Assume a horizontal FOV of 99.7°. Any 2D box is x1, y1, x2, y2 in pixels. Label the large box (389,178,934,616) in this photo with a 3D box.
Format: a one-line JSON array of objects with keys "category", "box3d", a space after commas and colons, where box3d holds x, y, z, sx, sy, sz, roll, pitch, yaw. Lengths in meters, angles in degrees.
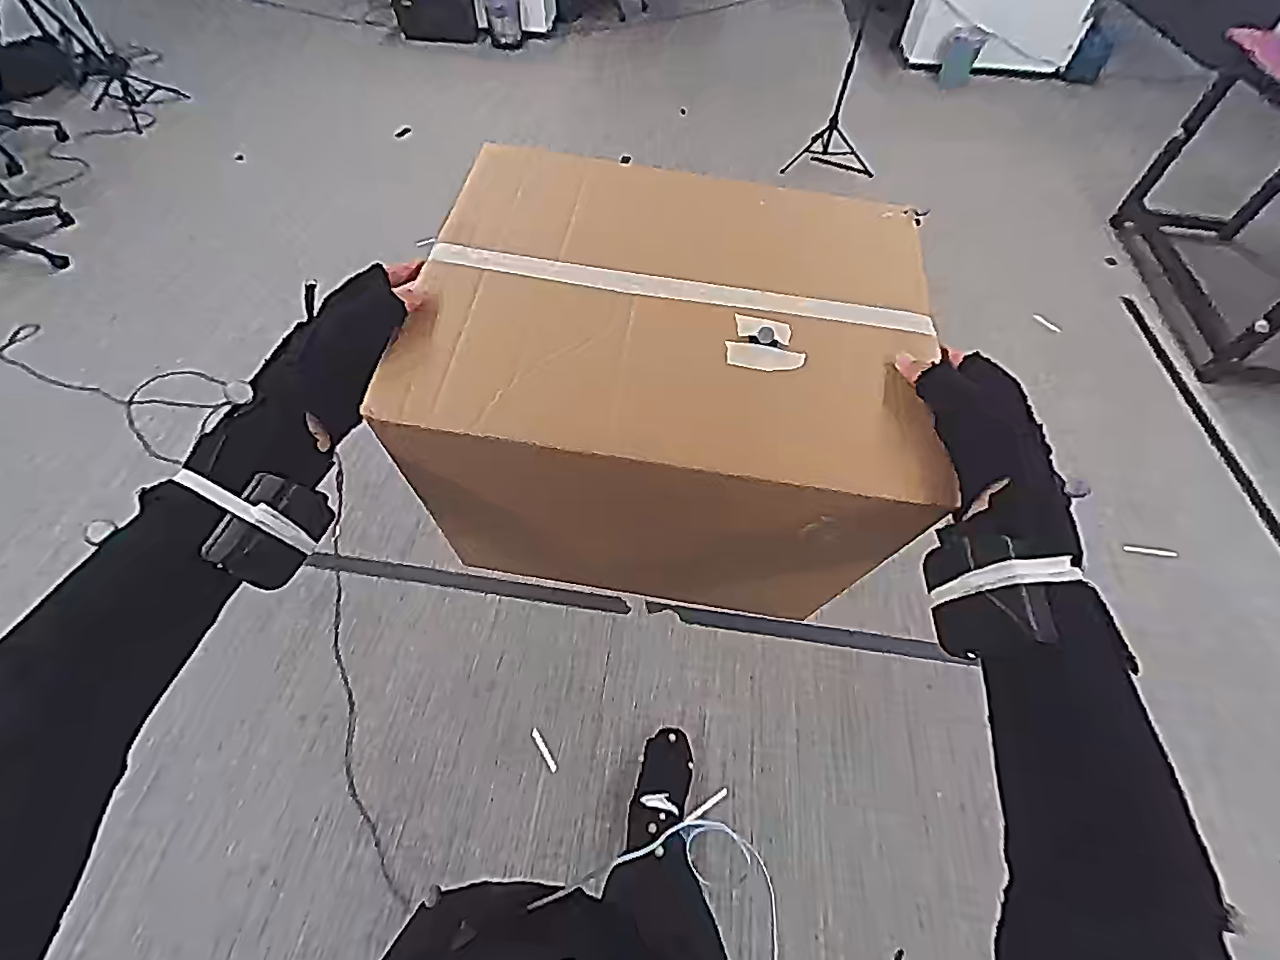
[{"category": "large box", "box3d": [0.021, -0.066, 0.585, 0.408, 0.320, 0.320, 9, 62, 0]}]
